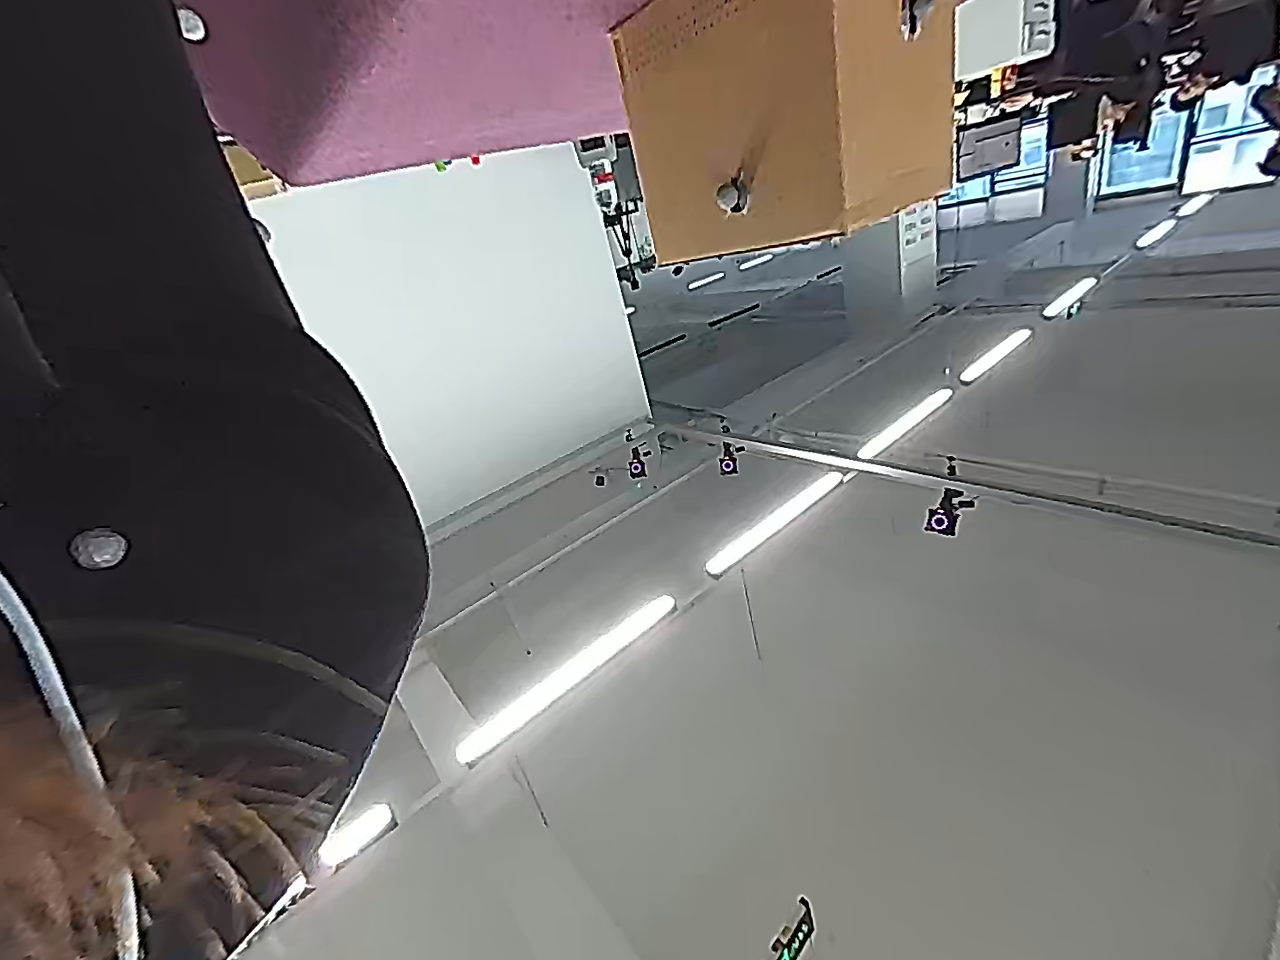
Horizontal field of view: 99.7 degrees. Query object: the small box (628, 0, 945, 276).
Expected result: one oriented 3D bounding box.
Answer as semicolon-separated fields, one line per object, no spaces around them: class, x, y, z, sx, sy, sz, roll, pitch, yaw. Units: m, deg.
small box;0.109;-0.267;0.407;0.168;0.176;0.179;-33;-150;-32
